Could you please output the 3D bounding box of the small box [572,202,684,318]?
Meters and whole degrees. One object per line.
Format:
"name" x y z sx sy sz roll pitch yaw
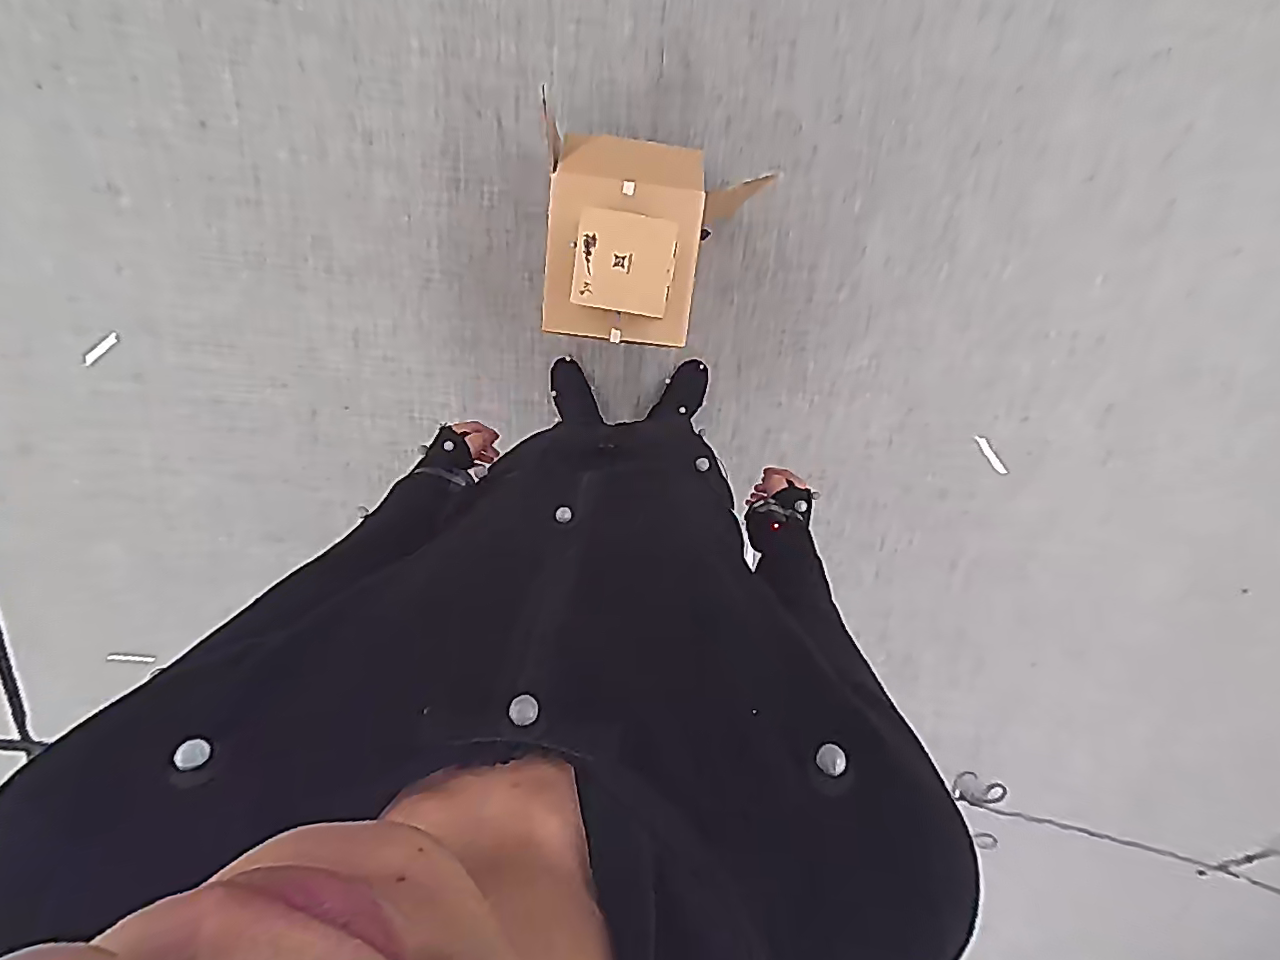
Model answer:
"small box" -0.025 -0.409 1.026 0.179 0.176 0.168 9 107 -4
